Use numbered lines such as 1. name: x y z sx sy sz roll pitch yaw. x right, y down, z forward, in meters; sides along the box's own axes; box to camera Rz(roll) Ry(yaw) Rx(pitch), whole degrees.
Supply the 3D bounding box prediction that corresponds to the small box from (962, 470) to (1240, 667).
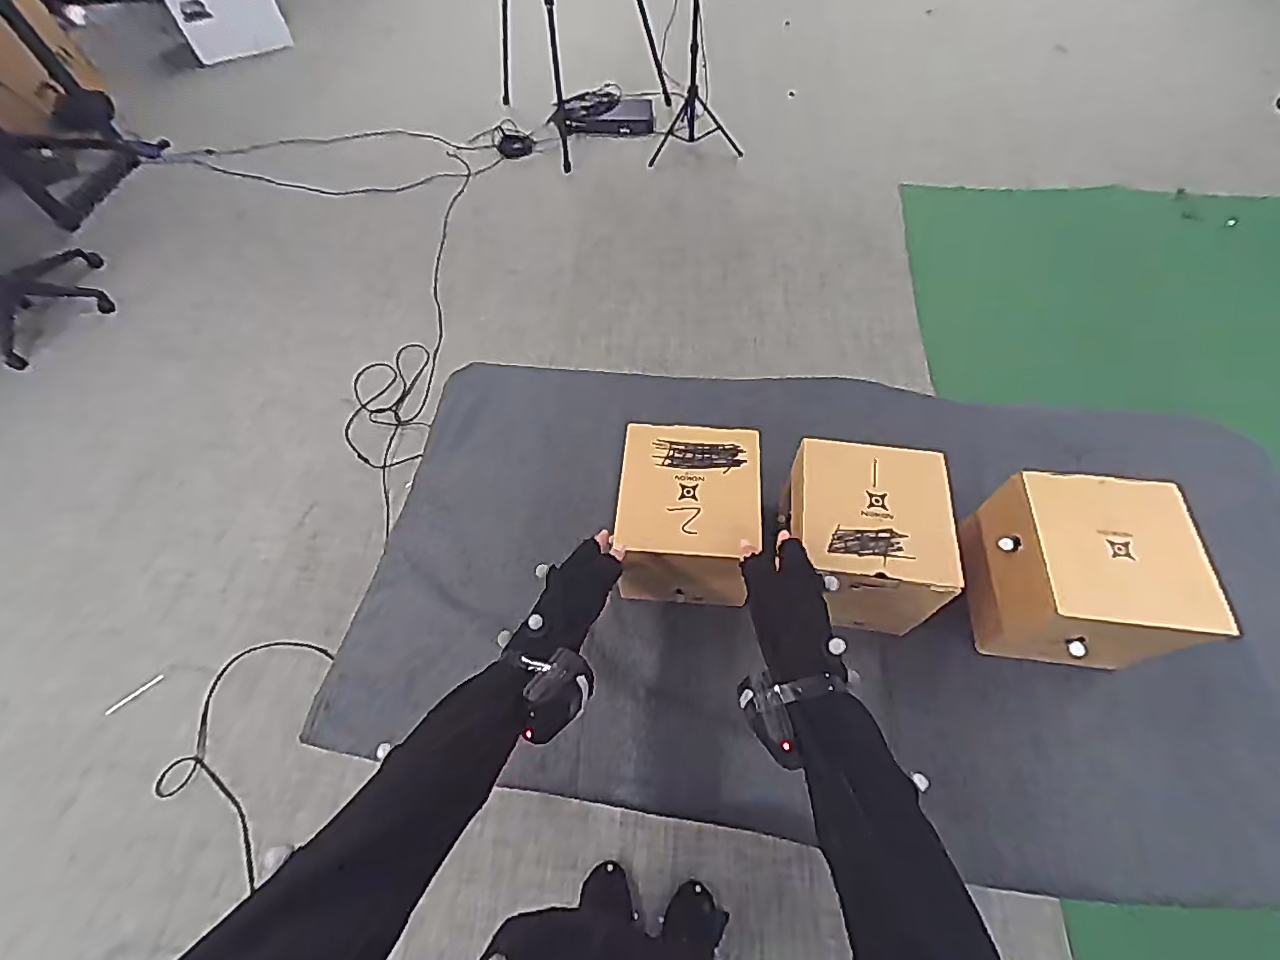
1. small box: 0.511 0.110 0.637 0.168 0.176 0.179 5 59 7
